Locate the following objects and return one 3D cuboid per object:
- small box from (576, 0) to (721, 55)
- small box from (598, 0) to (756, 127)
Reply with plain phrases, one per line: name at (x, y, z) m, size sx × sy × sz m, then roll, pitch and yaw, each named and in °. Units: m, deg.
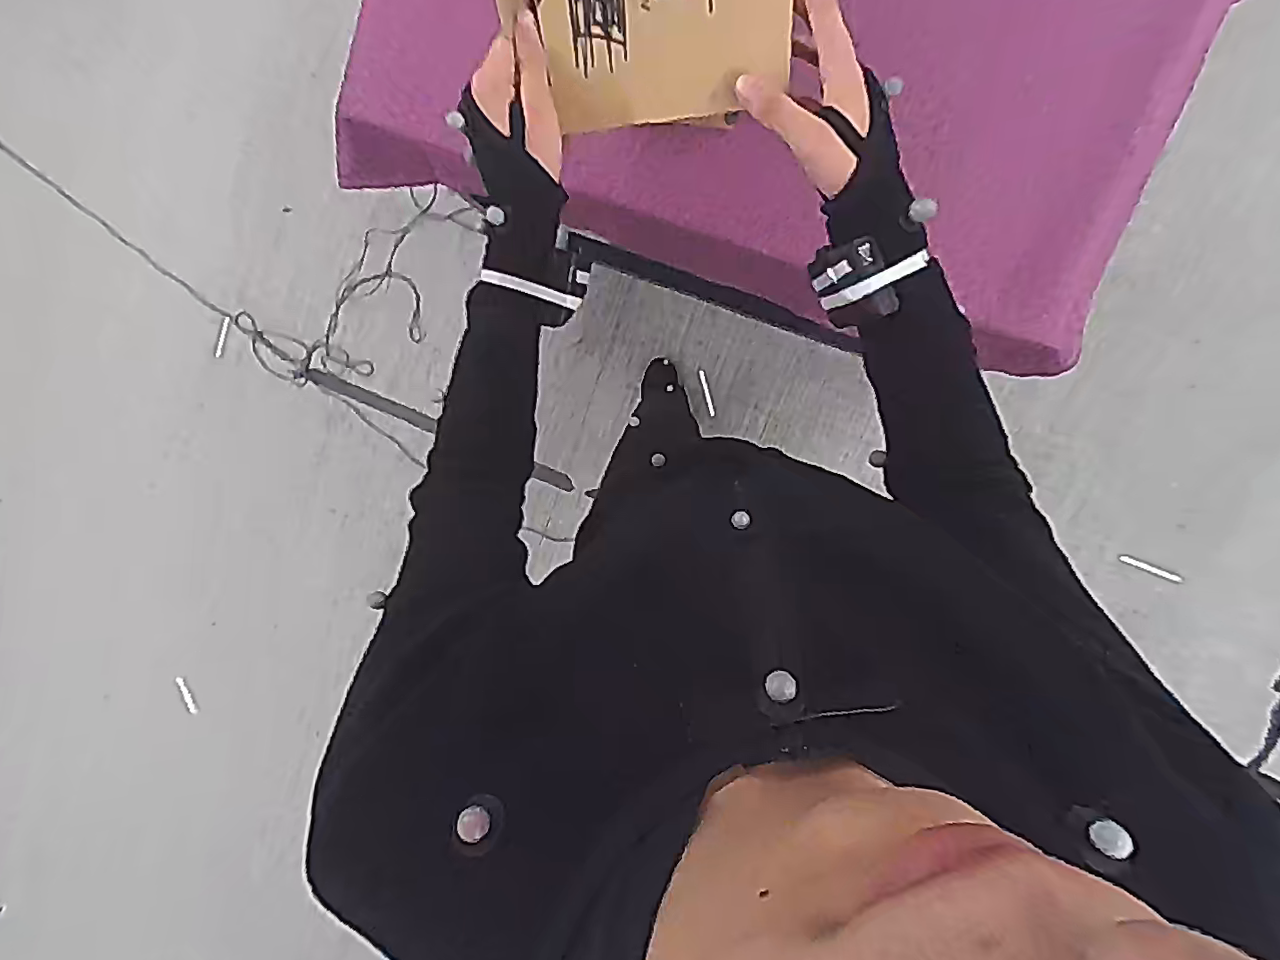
small box at (0.013, -0.608, 0.572) m, size 0.168 × 0.176 × 0.179 m, roll 16°, pitch 98°, yaw 8°
small box at (0.057, -0.612, 0.732) m, size 0.179 × 0.176 × 0.168 m, roll 11°, pitch 98°, yaw 7°
